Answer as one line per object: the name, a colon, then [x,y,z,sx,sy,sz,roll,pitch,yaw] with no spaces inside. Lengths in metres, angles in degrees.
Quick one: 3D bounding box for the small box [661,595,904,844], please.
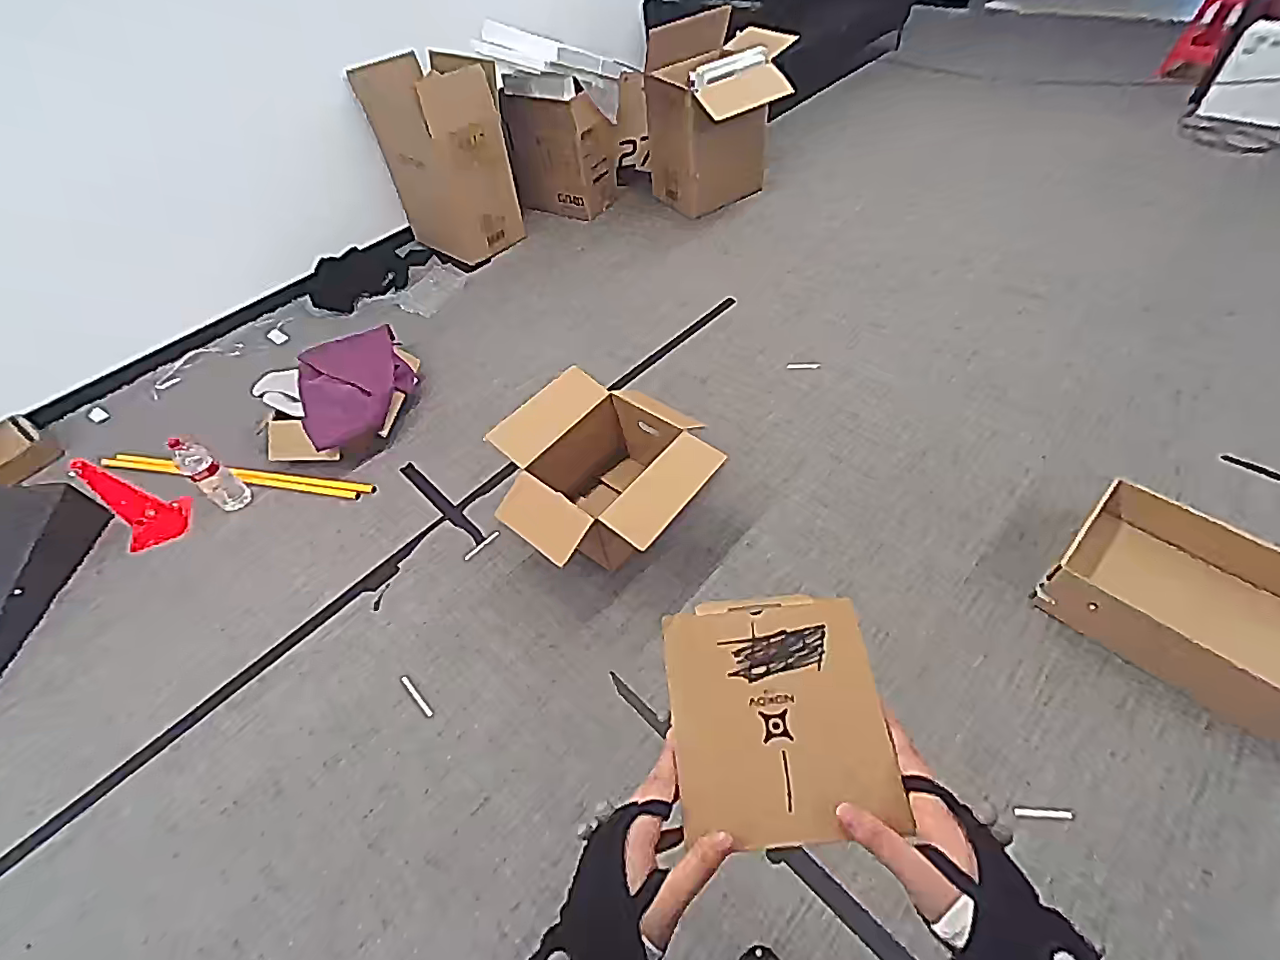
small box: [0.108,0.223,0.498,0.168,0.176,0.179,-6,59,2]
